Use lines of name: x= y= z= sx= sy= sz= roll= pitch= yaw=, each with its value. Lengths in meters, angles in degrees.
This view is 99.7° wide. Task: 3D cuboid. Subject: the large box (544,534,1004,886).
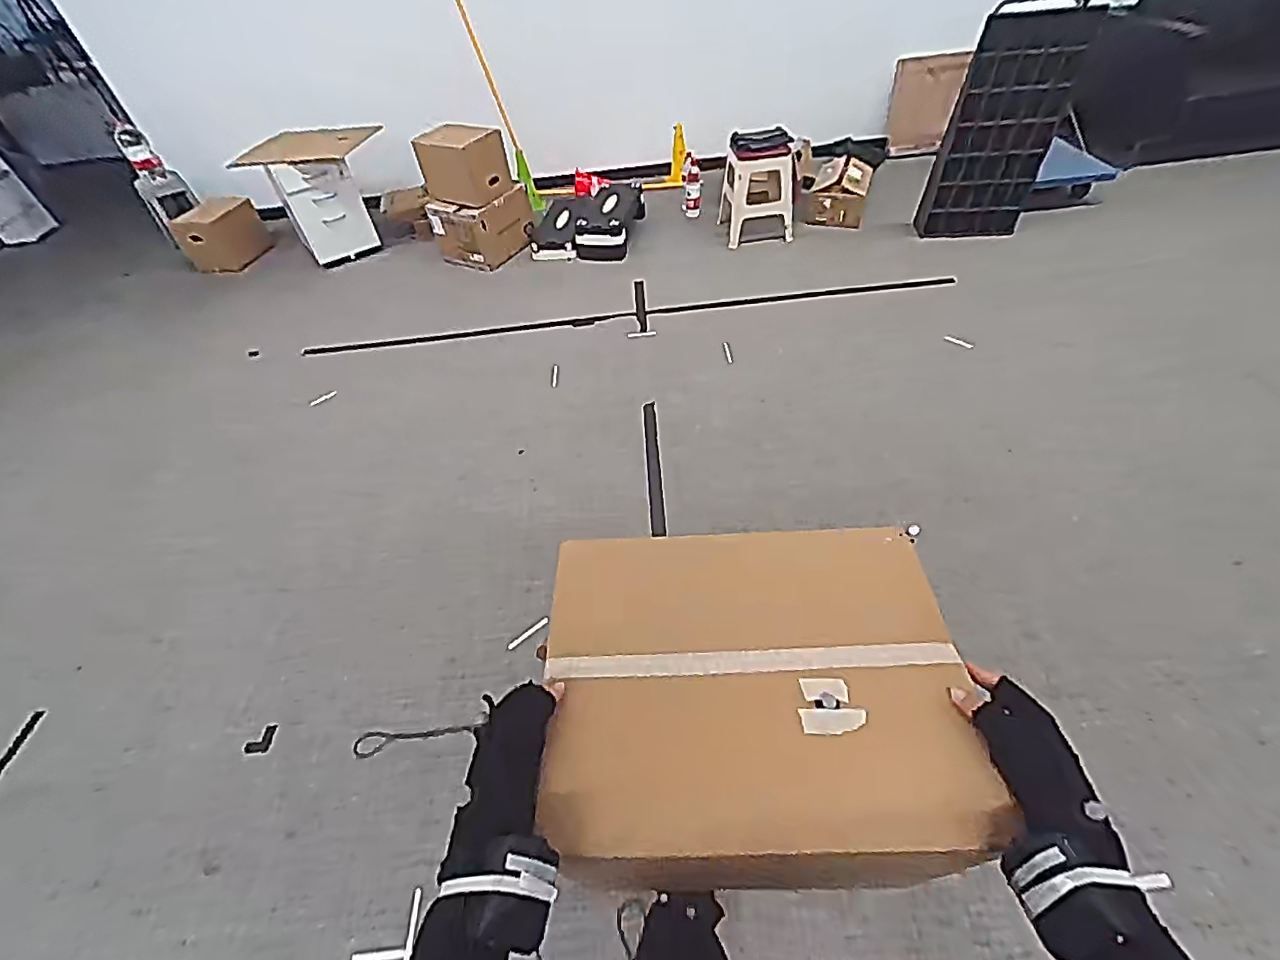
large box: x=0.116 y=0.289 z=0.668 sx=0.408 sy=0.320 sz=0.320 roll=-3 pitch=49 yaw=2
